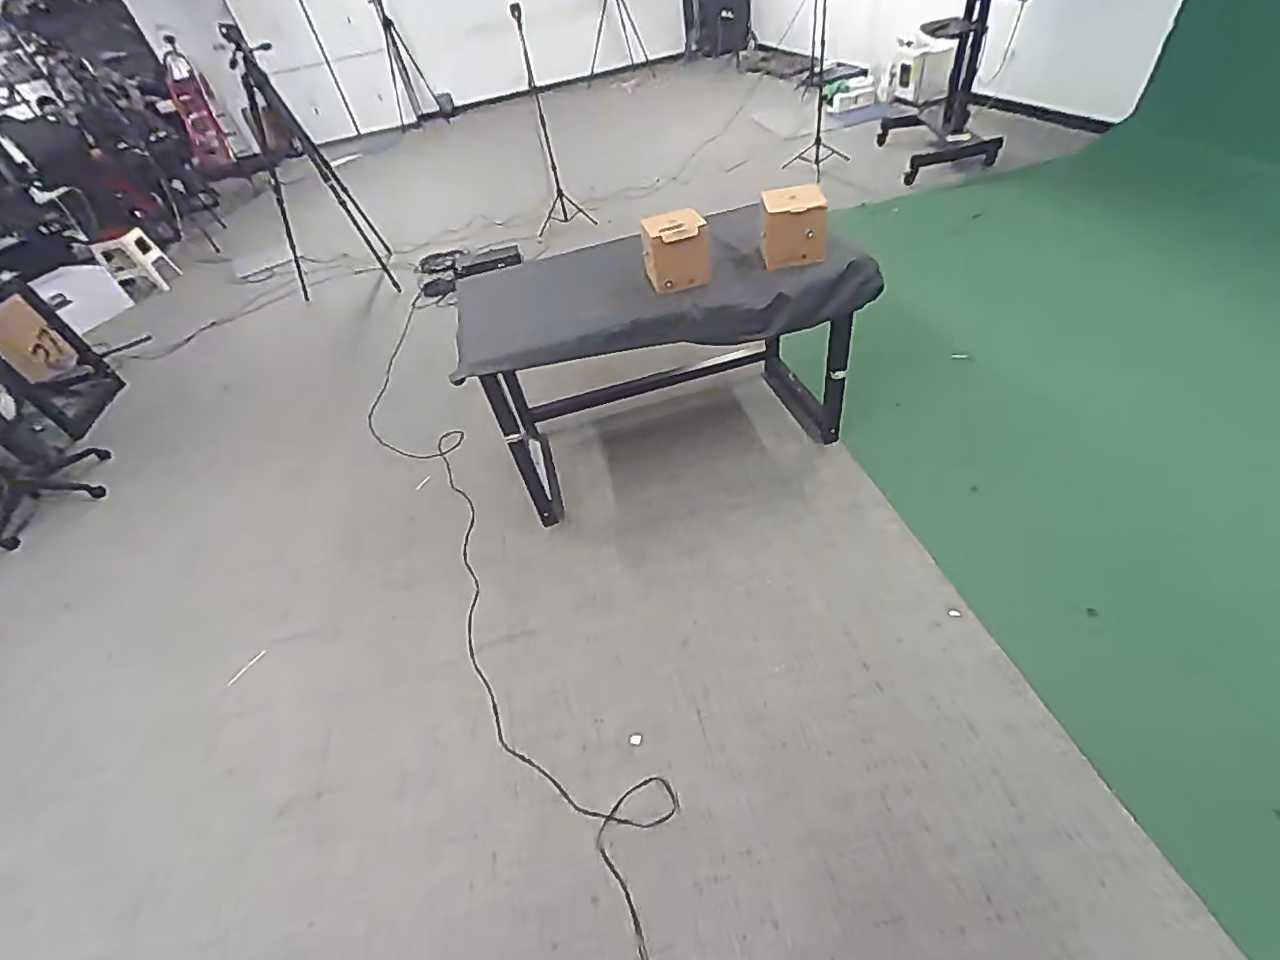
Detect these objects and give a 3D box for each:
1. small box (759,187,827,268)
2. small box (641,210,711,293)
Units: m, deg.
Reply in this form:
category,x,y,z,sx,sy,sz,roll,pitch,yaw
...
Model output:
category,x,y,z,sx,sy,sz,roll,pitch,yaw
small box,0.450,-0.743,1.606,0.168,0.176,0.179,-6,43,6
small box,0.108,-0.677,1.614,0.168,0.176,0.179,-14,43,-2
